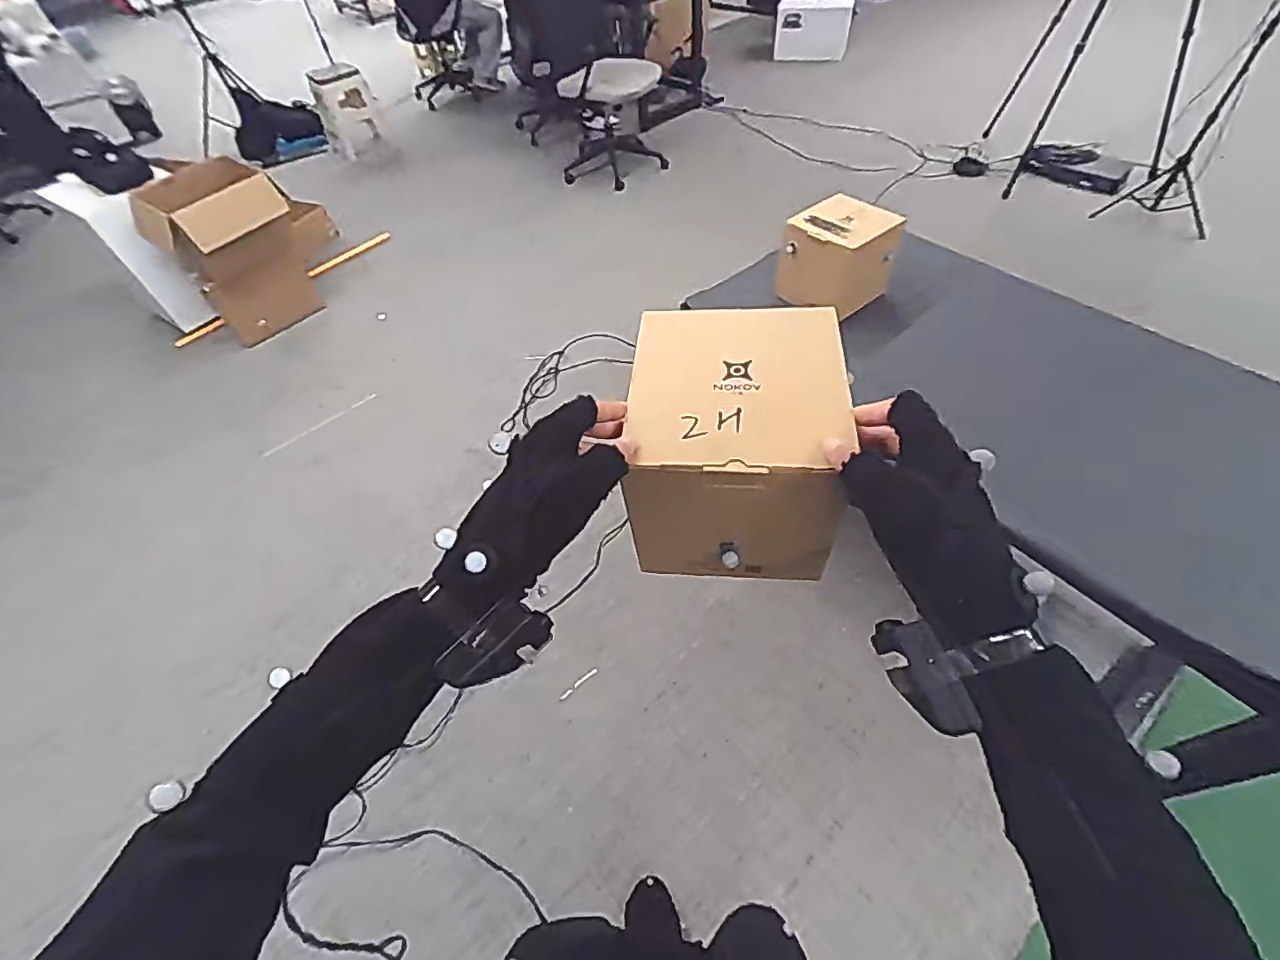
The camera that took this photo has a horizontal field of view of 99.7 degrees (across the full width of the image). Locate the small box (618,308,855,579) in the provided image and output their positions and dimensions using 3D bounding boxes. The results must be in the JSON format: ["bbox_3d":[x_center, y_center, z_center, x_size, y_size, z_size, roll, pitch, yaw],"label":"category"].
[{"bbox_3d":[0.081,-0.031,0.484,0.168,0.176,0.179,1,55,9],"label":"small box"}]
